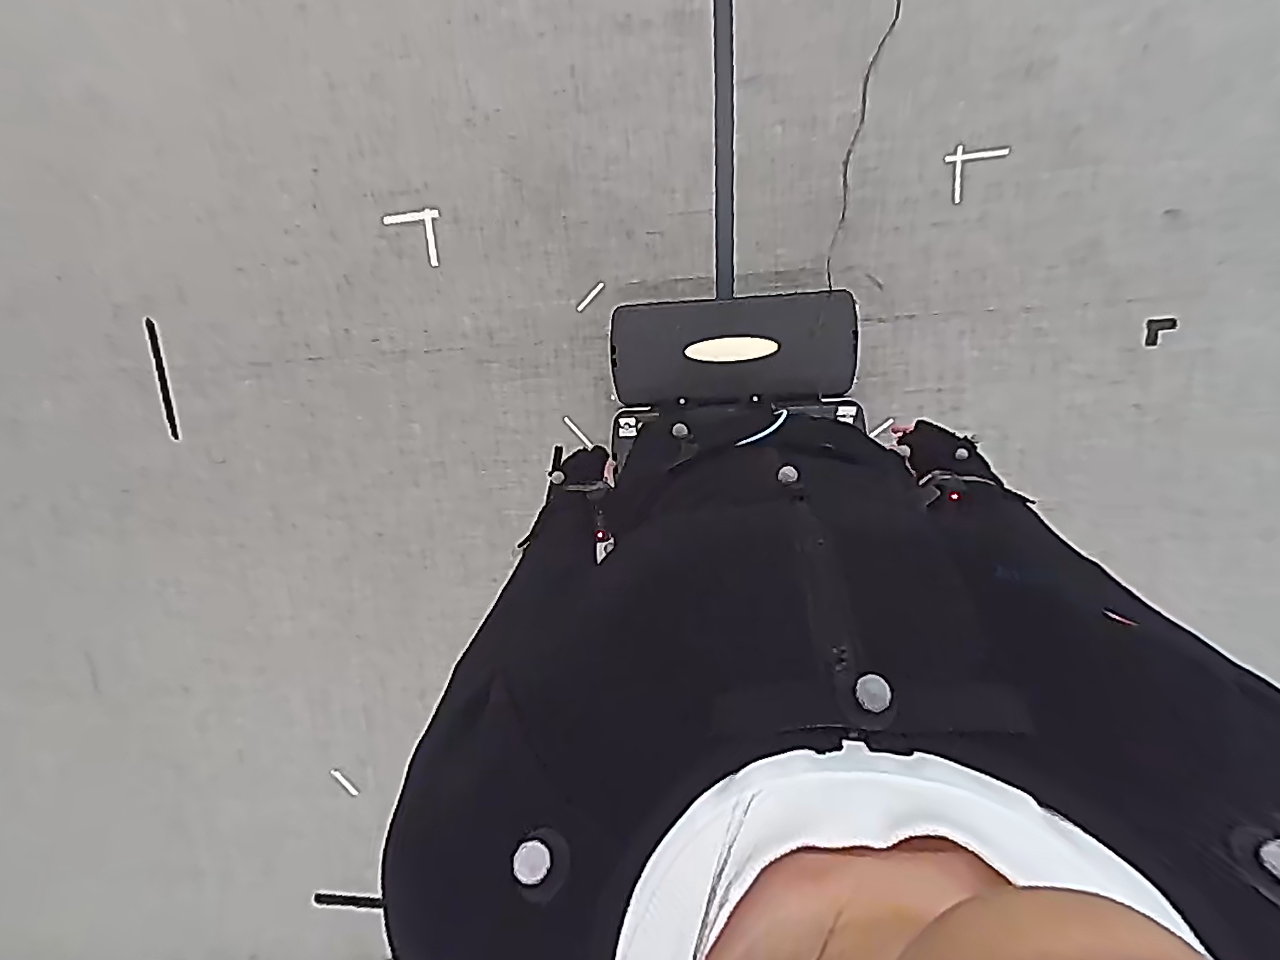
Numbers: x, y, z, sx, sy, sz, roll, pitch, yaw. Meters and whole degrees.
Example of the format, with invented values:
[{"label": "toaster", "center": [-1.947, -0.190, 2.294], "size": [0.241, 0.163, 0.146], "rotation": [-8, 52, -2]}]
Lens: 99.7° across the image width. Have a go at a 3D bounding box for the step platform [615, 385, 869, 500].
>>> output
[{"label": "step platform", "center": [0.270, -0.102, 1.511], "size": [0.684, 0.204, 0.286], "rotation": [-3, 99, 8]}]
